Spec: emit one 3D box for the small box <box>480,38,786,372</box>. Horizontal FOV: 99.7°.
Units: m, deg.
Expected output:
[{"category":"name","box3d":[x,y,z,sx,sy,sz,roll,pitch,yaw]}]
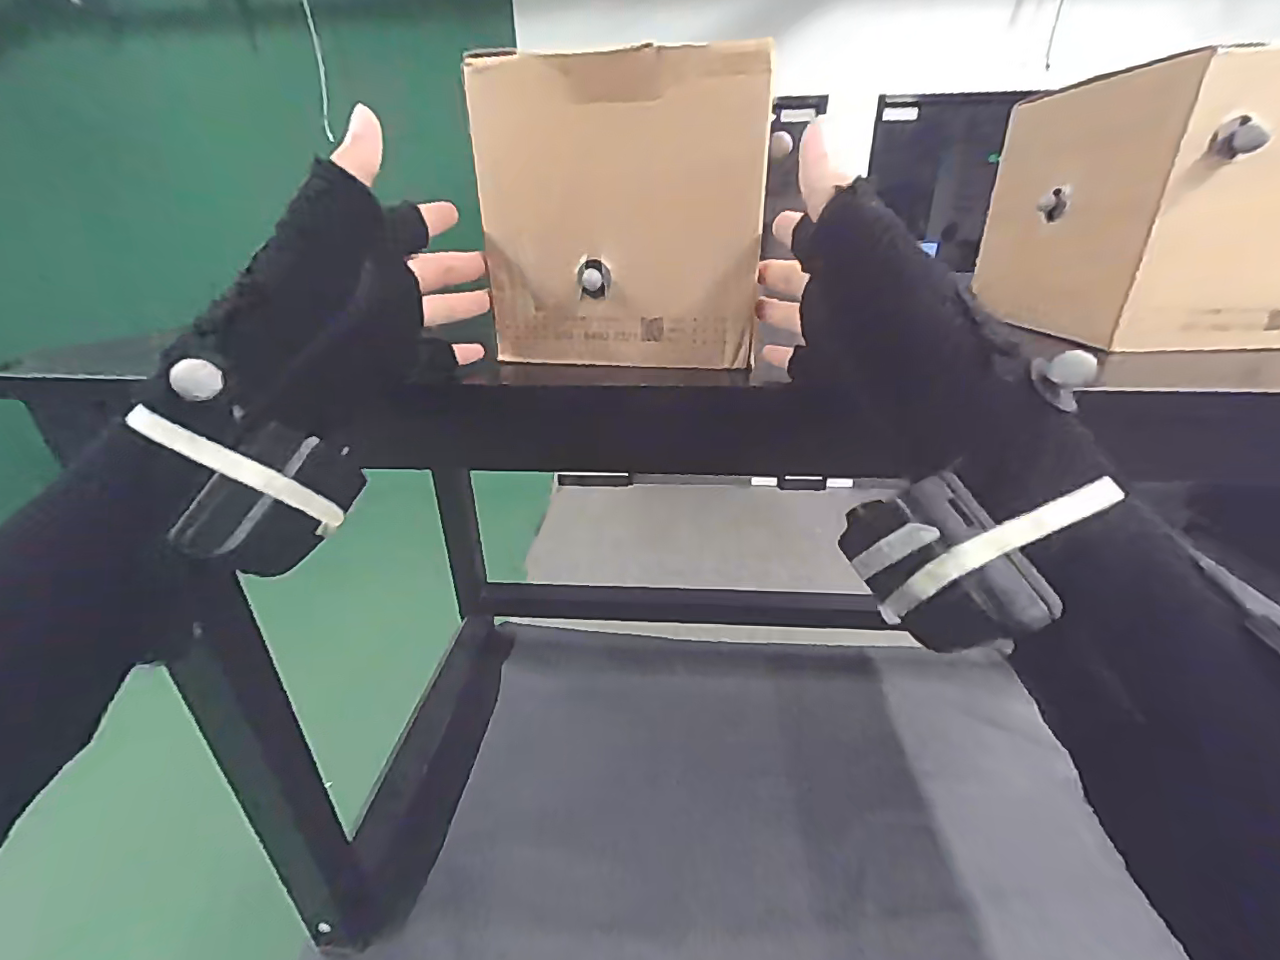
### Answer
[{"category":"small box","box3d":[0.005,-0.183,0.385,0.168,0.176,0.179,3,26,8]}]
